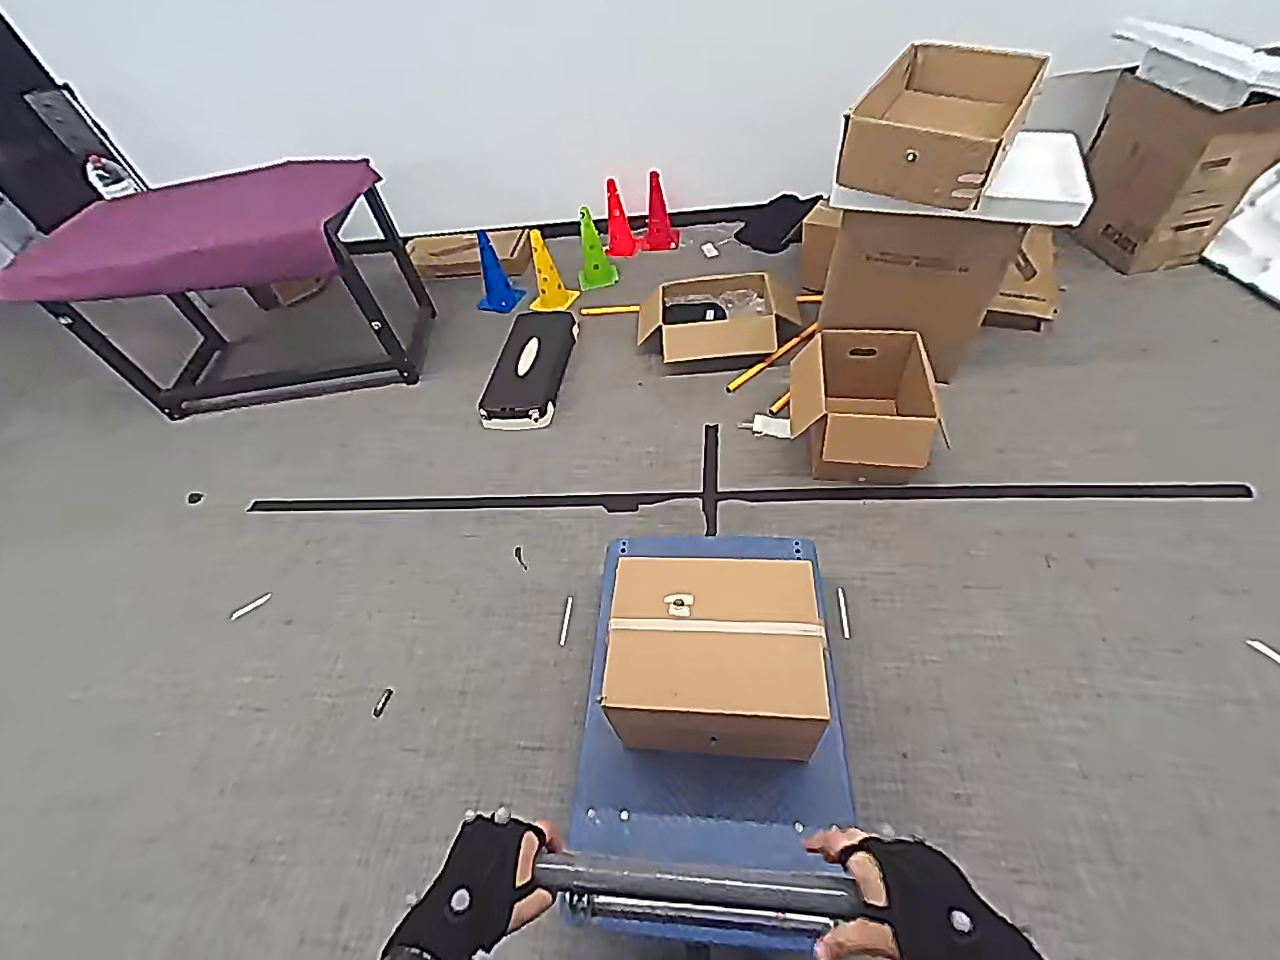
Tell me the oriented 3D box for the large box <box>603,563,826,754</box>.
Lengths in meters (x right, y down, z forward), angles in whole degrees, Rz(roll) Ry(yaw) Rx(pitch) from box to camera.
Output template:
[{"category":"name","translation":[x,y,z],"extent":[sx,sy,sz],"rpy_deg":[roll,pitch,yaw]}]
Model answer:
[{"category":"large box","translation":[0.160,0.391,1.172],"extent":[0.408,0.320,0.320],"rpy_deg":[-1,50,9]}]
